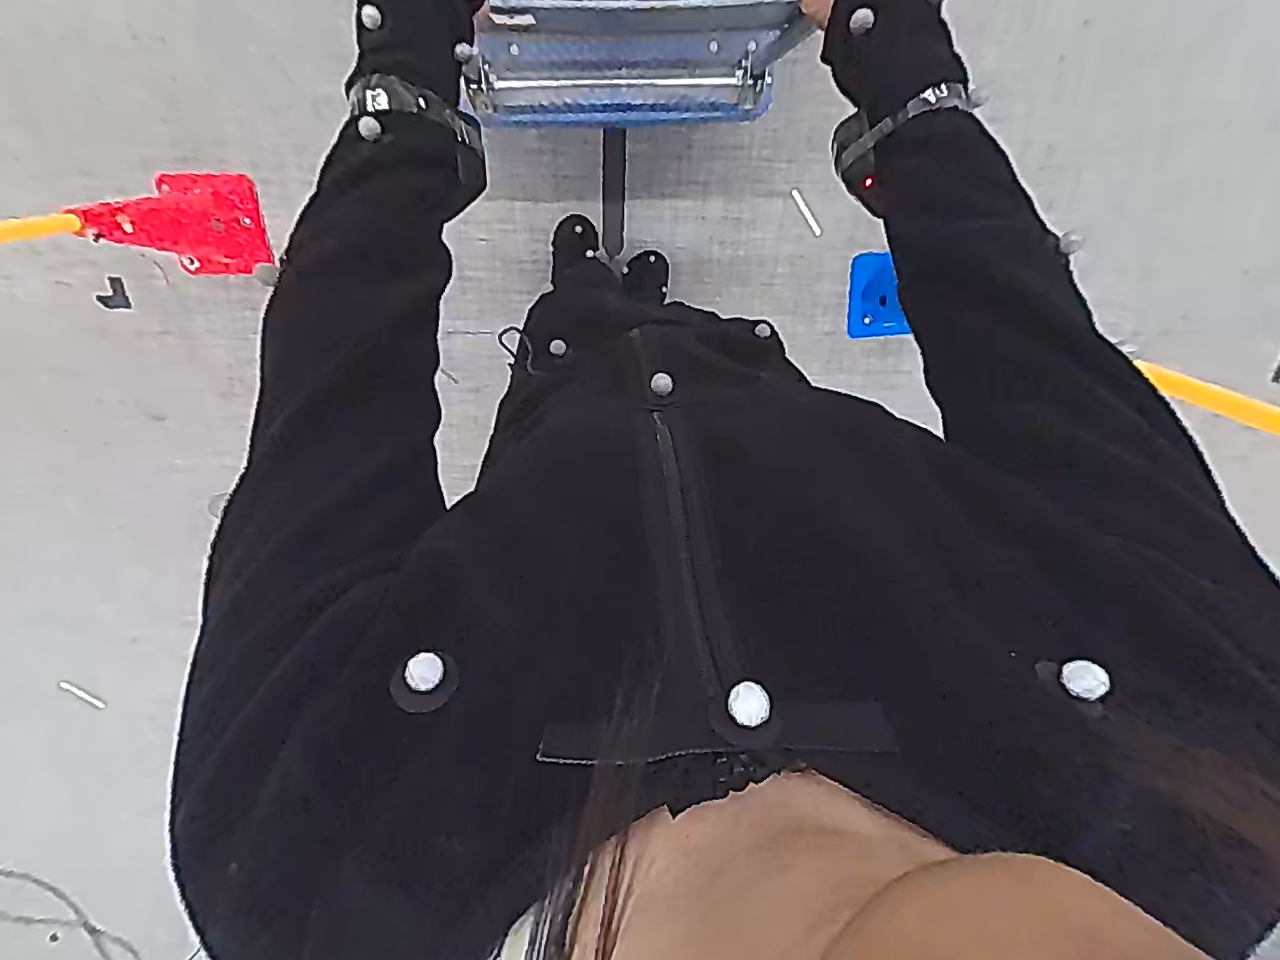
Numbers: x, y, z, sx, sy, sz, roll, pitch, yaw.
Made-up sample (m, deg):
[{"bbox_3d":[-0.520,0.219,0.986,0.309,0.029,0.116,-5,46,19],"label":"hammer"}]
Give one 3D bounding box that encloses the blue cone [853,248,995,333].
[{"bbox_3d":[0.630,-0.397,1.177,0.193,0.380,0.192,-4,113,-3],"label":"blue cone"}]
